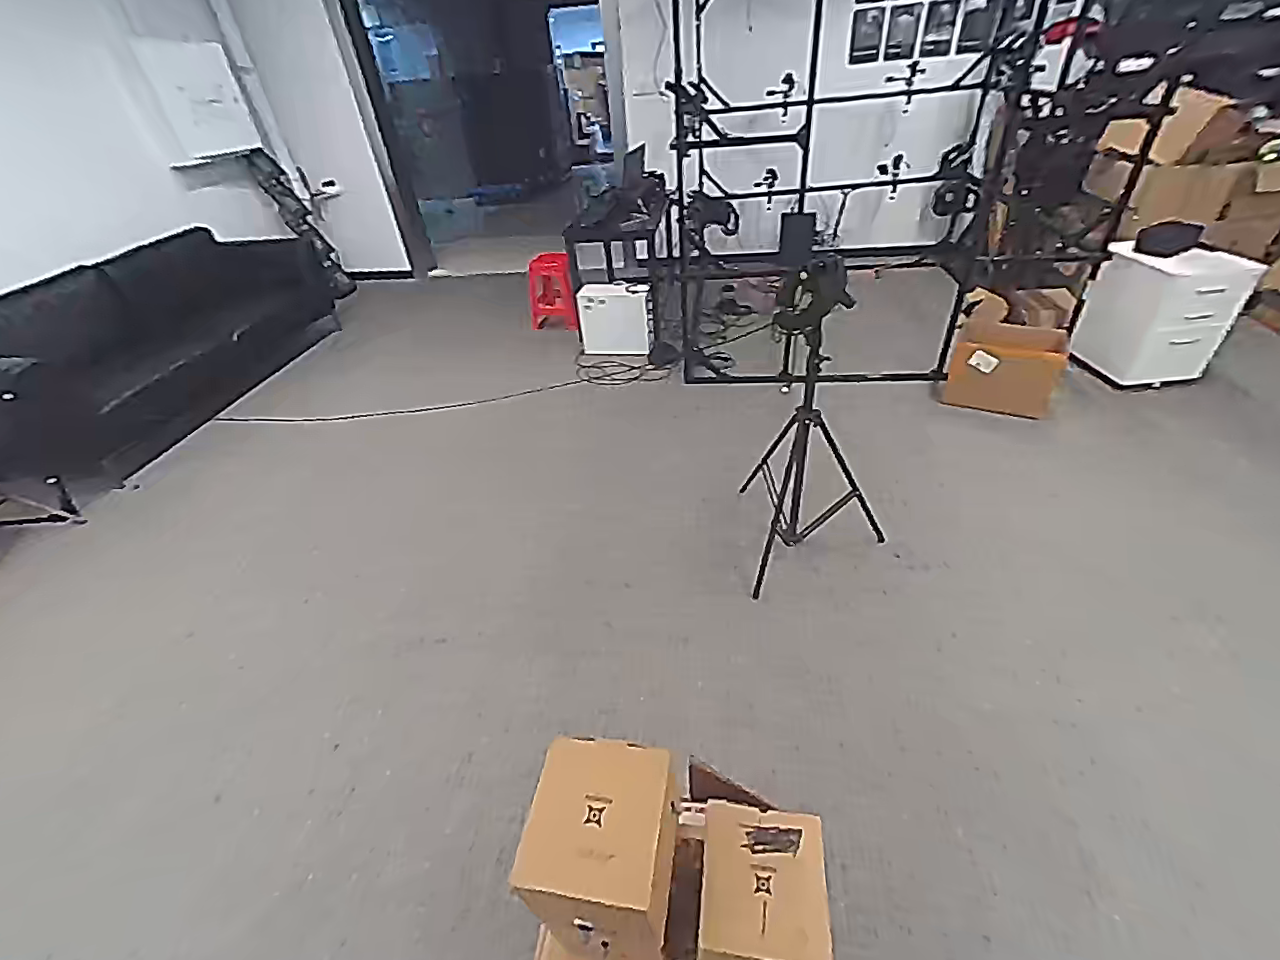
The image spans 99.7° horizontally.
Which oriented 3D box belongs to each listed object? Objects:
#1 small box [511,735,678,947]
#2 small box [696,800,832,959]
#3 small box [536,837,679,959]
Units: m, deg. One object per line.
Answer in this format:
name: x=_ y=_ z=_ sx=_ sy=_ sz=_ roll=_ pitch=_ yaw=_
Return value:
small box: x=-0.044 y=0.466 z=0.705 sx=0.168 sy=0.176 sz=0.179 roll=1 pitch=40 yaw=12
small box: x=0.170 y=0.598 z=0.775 sx=0.168 sy=0.176 sz=0.179 roll=3 pitch=40 yaw=10
small box: x=-0.035 y=0.588 z=0.813 sx=0.168 sy=0.176 sz=0.179 roll=1 pitch=40 yaw=12
